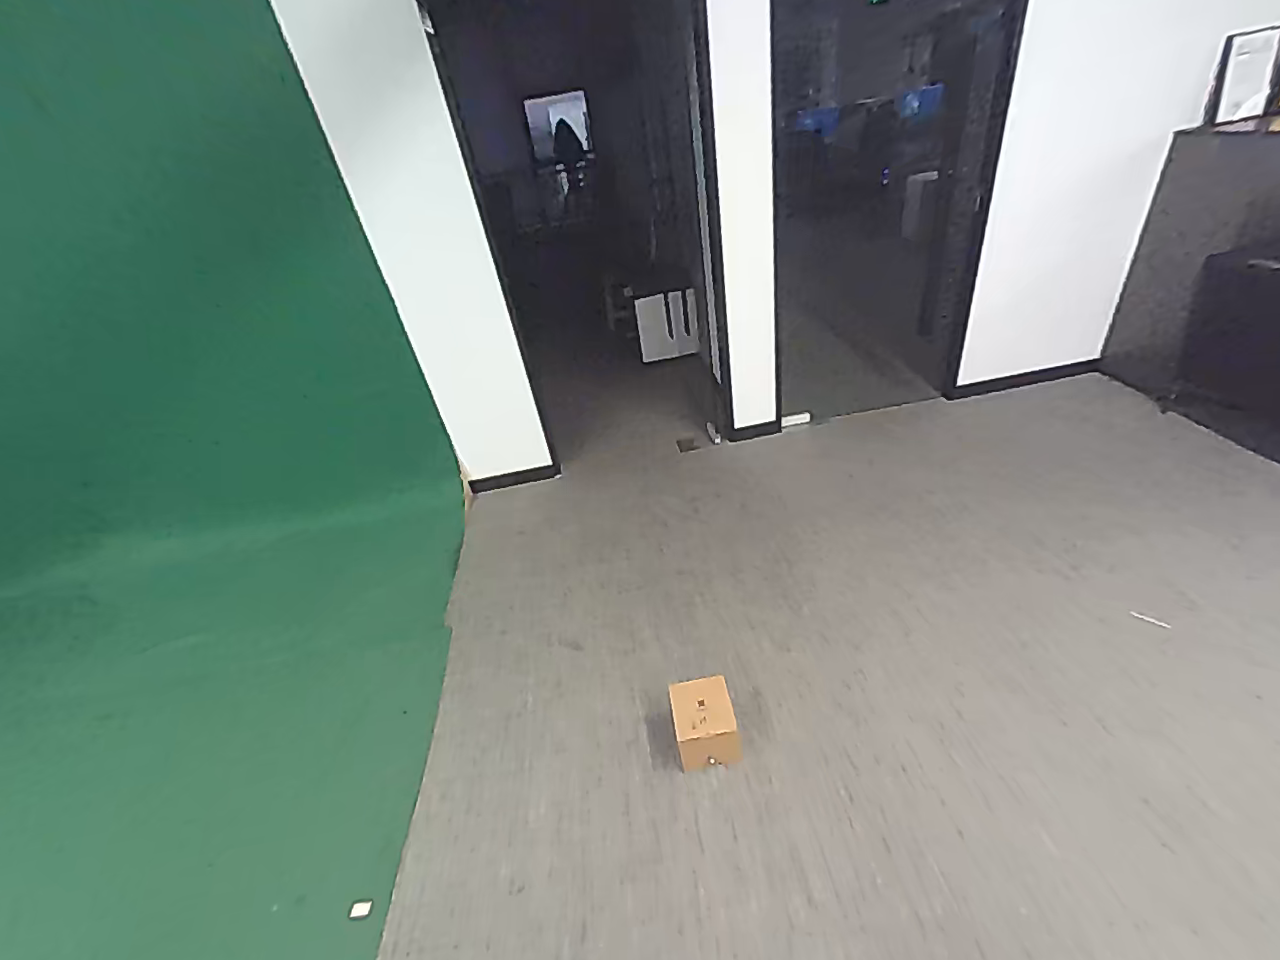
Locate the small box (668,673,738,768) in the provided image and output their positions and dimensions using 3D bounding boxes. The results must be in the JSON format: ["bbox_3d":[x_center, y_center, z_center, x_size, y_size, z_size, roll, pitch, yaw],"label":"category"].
[{"bbox_3d":[0.177,0.683,1.537,0.168,0.176,0.179,-11,35,1],"label":"small box"}]
